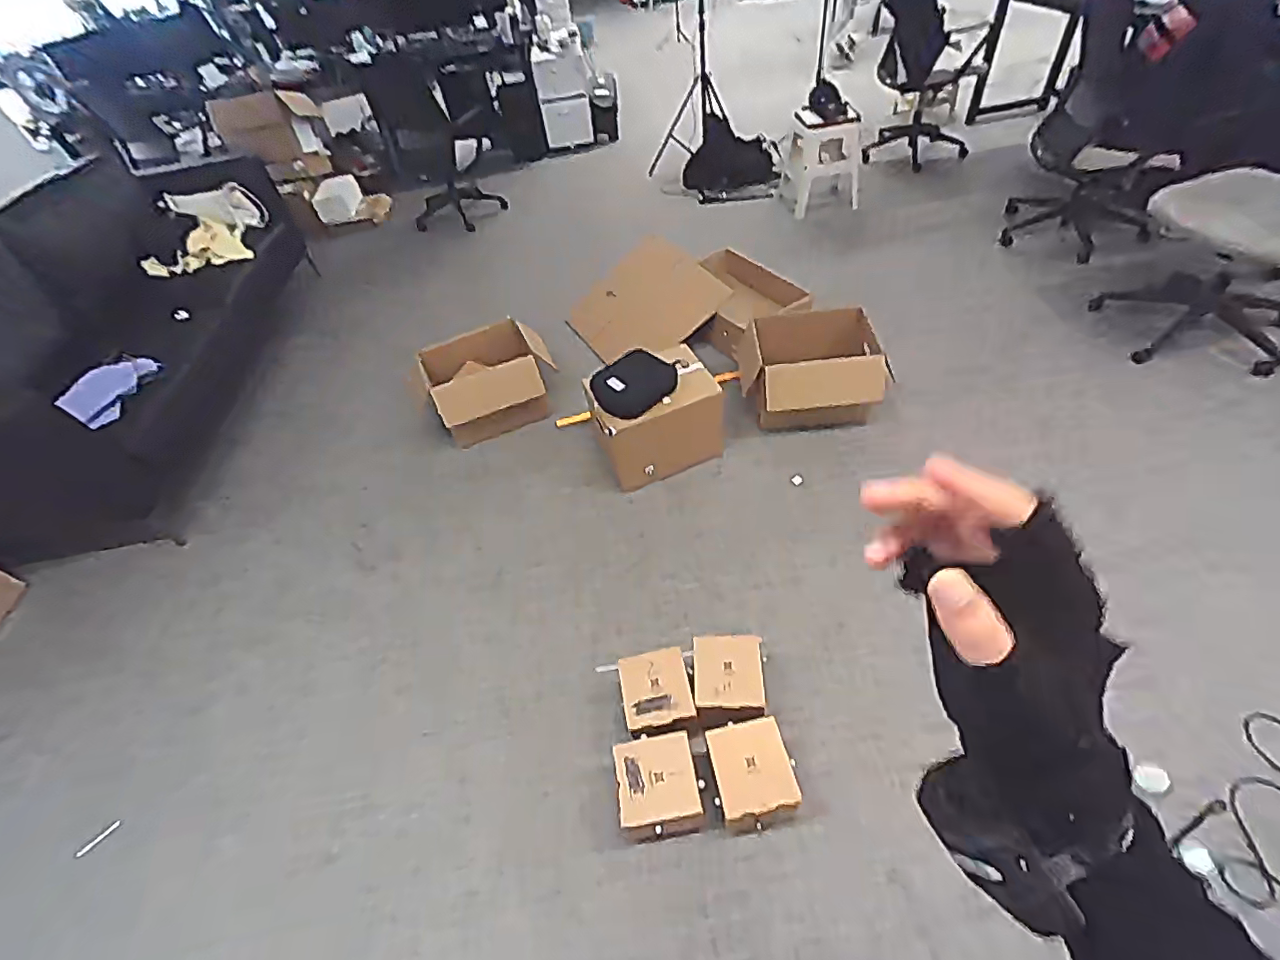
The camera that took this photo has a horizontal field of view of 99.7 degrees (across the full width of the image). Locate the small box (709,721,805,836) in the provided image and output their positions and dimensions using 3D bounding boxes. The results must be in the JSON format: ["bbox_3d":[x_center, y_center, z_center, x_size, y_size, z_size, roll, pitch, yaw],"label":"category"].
[{"bbox_3d":[0.257,0.680,1.228,0.168,0.176,0.179,-13,48,-1],"label":"small box"}]
